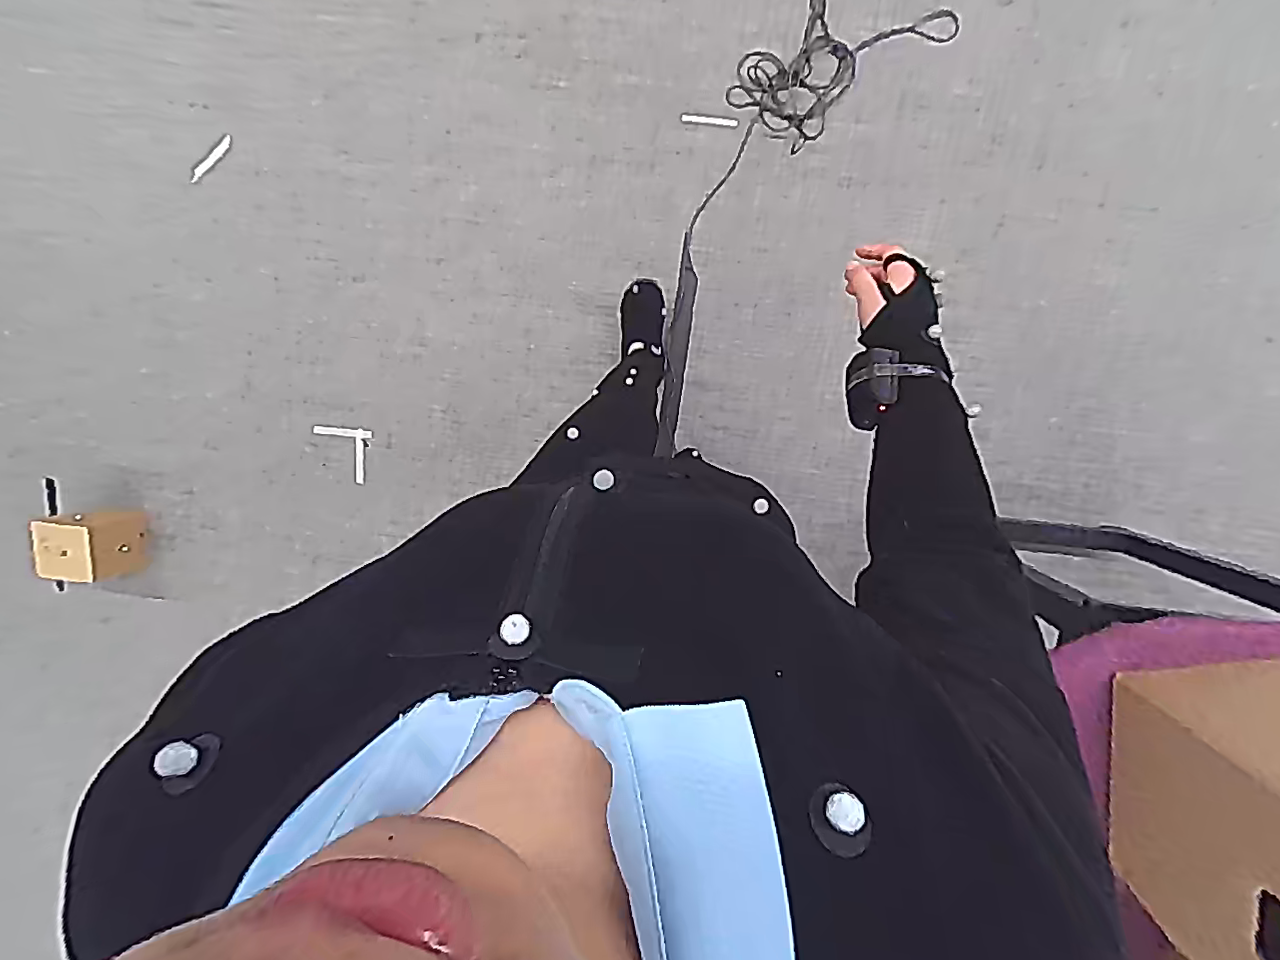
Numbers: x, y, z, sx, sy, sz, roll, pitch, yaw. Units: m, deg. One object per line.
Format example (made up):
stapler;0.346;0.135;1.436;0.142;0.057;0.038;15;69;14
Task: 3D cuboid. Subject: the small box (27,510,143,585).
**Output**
small box;-1.595;0.190;1.568;0.179;0.176;0.168;6;99;5
